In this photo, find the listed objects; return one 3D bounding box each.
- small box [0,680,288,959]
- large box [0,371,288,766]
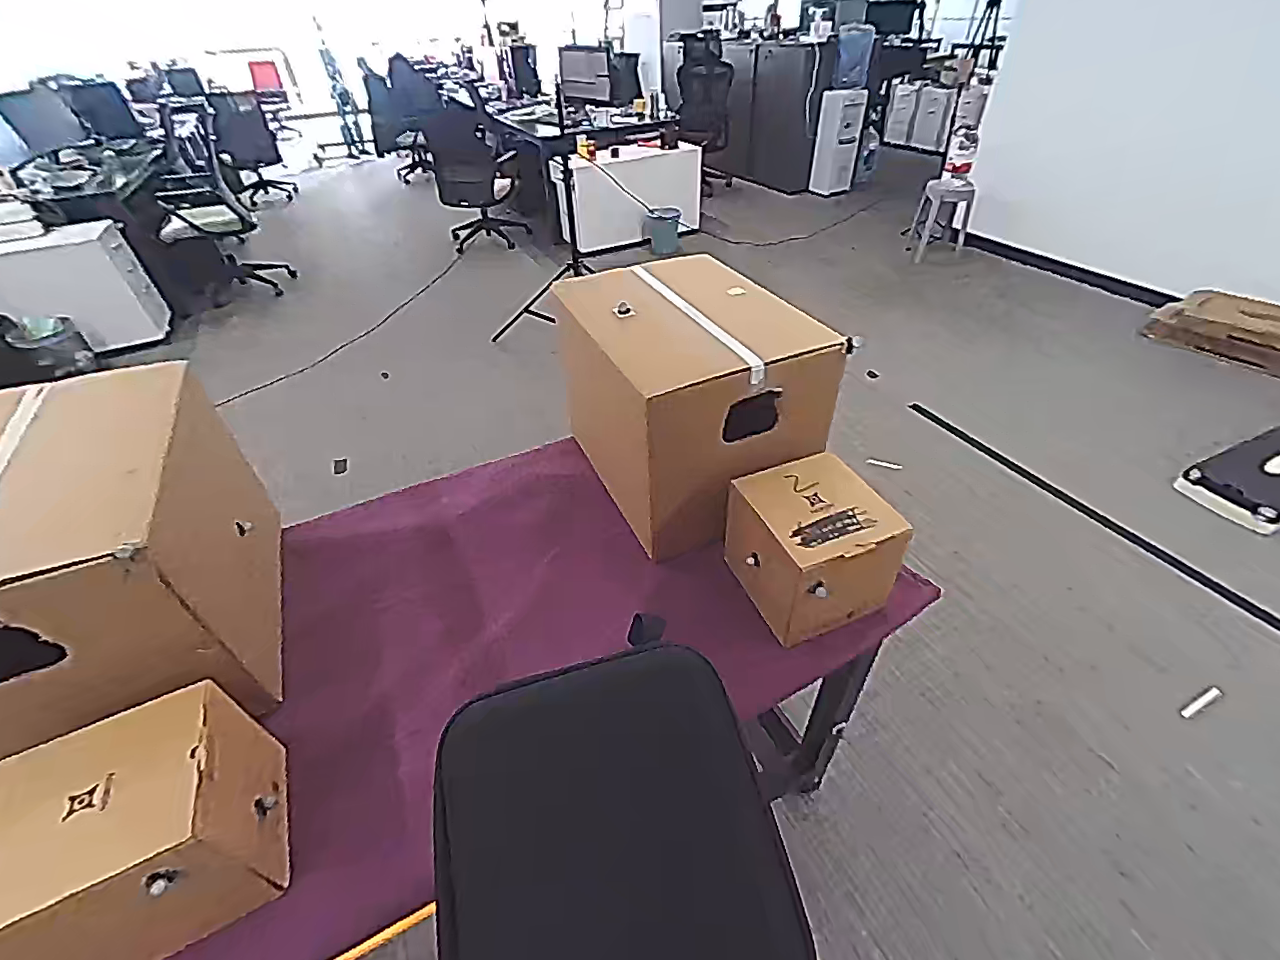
[{"bbox_3d":[-0.477,0.341,0.526,0.179,0.176,0.168,-21,43,-21],"label":"small box"},{"bbox_3d":[-0.687,0.116,0.688,0.320,0.320,0.408,-20,46,-20],"label":"large box"}]
